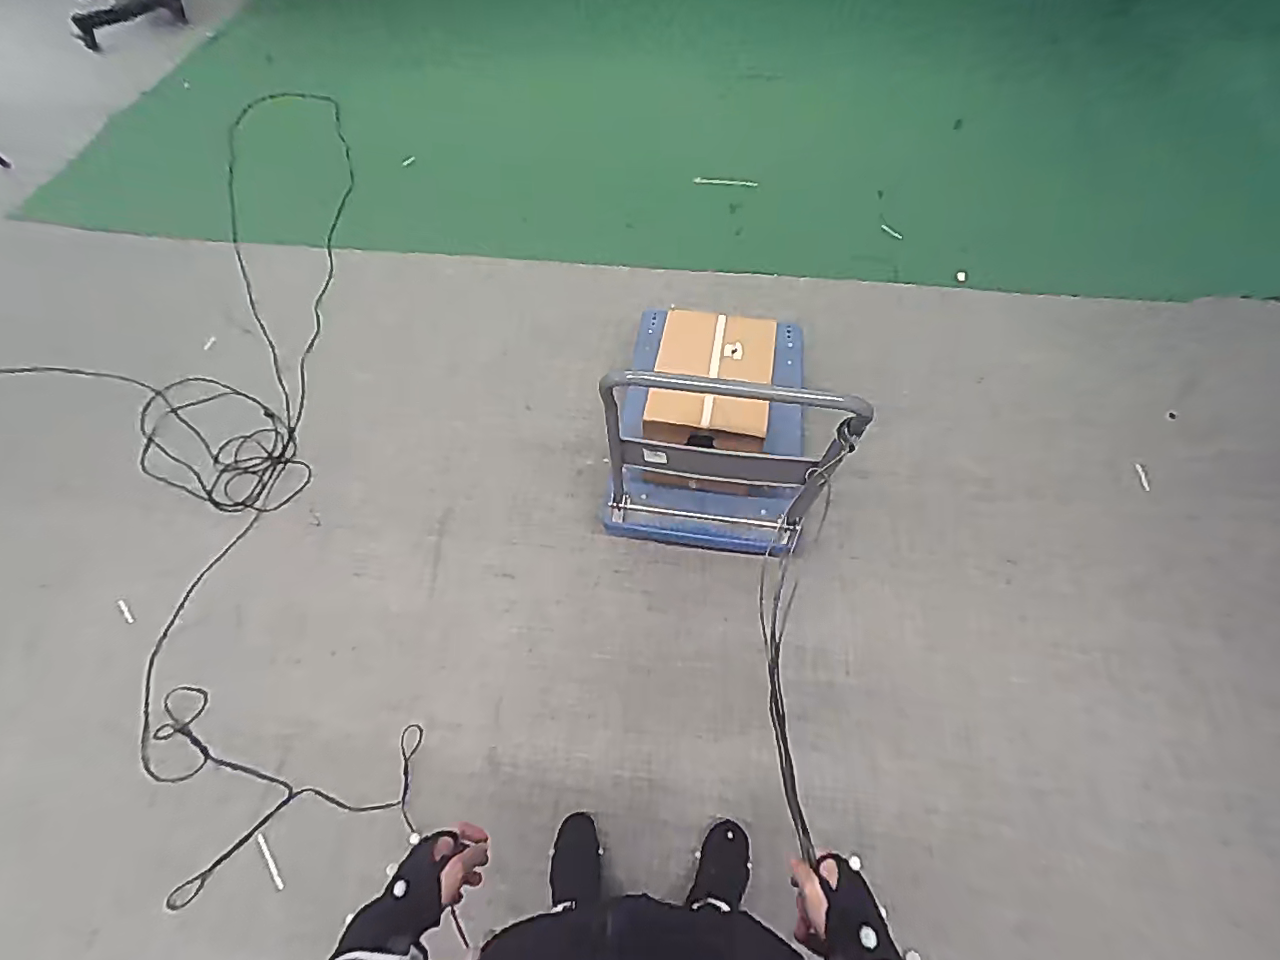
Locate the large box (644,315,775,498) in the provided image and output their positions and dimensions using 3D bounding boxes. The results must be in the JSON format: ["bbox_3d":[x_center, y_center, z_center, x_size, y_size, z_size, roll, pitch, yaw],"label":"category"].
[{"bbox_3d":[0.197,-0.206,1.559,0.320,0.320,0.408,10,60,6],"label":"large box"}]
